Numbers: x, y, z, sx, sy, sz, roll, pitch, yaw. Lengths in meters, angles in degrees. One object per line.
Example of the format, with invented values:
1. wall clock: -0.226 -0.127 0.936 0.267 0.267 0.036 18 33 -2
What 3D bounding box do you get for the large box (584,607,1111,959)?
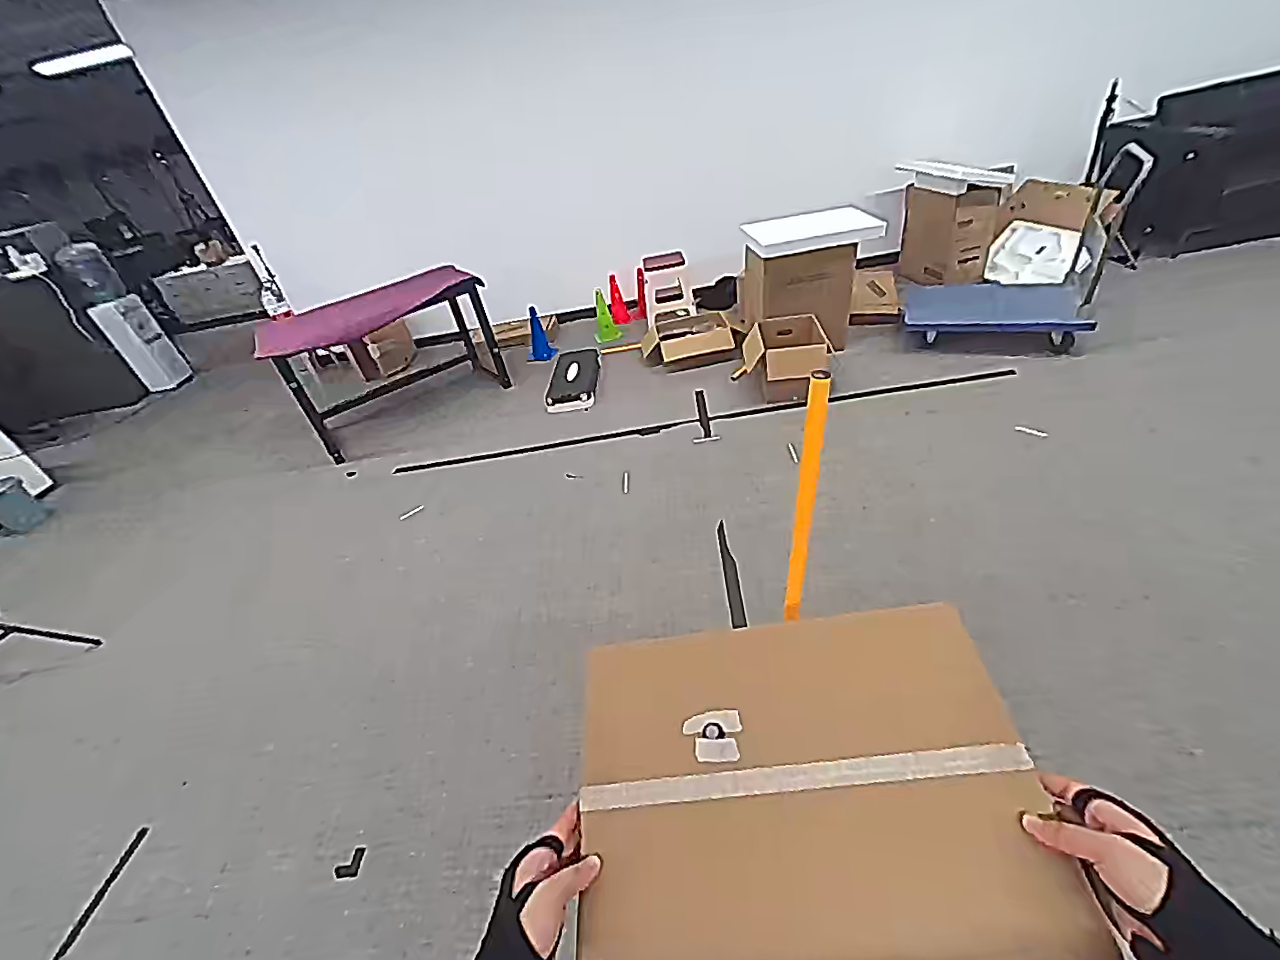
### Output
1. large box: 0.175 0.383 0.616 0.408 0.320 0.320 -11 45 8
